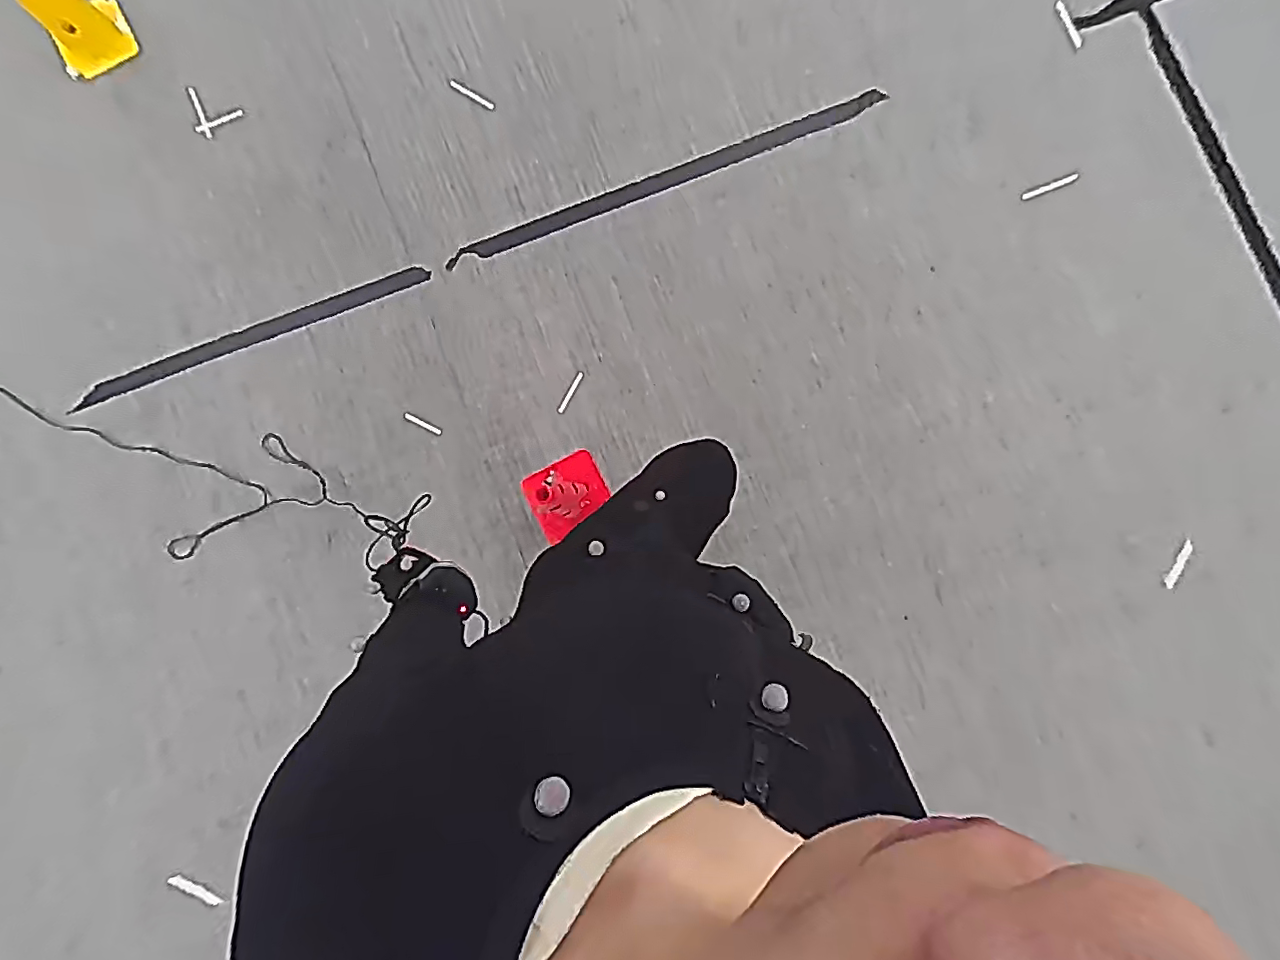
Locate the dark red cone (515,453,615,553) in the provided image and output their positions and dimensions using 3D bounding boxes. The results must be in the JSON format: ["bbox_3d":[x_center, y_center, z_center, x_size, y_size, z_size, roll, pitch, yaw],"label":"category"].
[{"bbox_3d":[-0.192,0.046,1.178,0.202,0.394,0.201,-29,85,0],"label":"dark red cone"}]
